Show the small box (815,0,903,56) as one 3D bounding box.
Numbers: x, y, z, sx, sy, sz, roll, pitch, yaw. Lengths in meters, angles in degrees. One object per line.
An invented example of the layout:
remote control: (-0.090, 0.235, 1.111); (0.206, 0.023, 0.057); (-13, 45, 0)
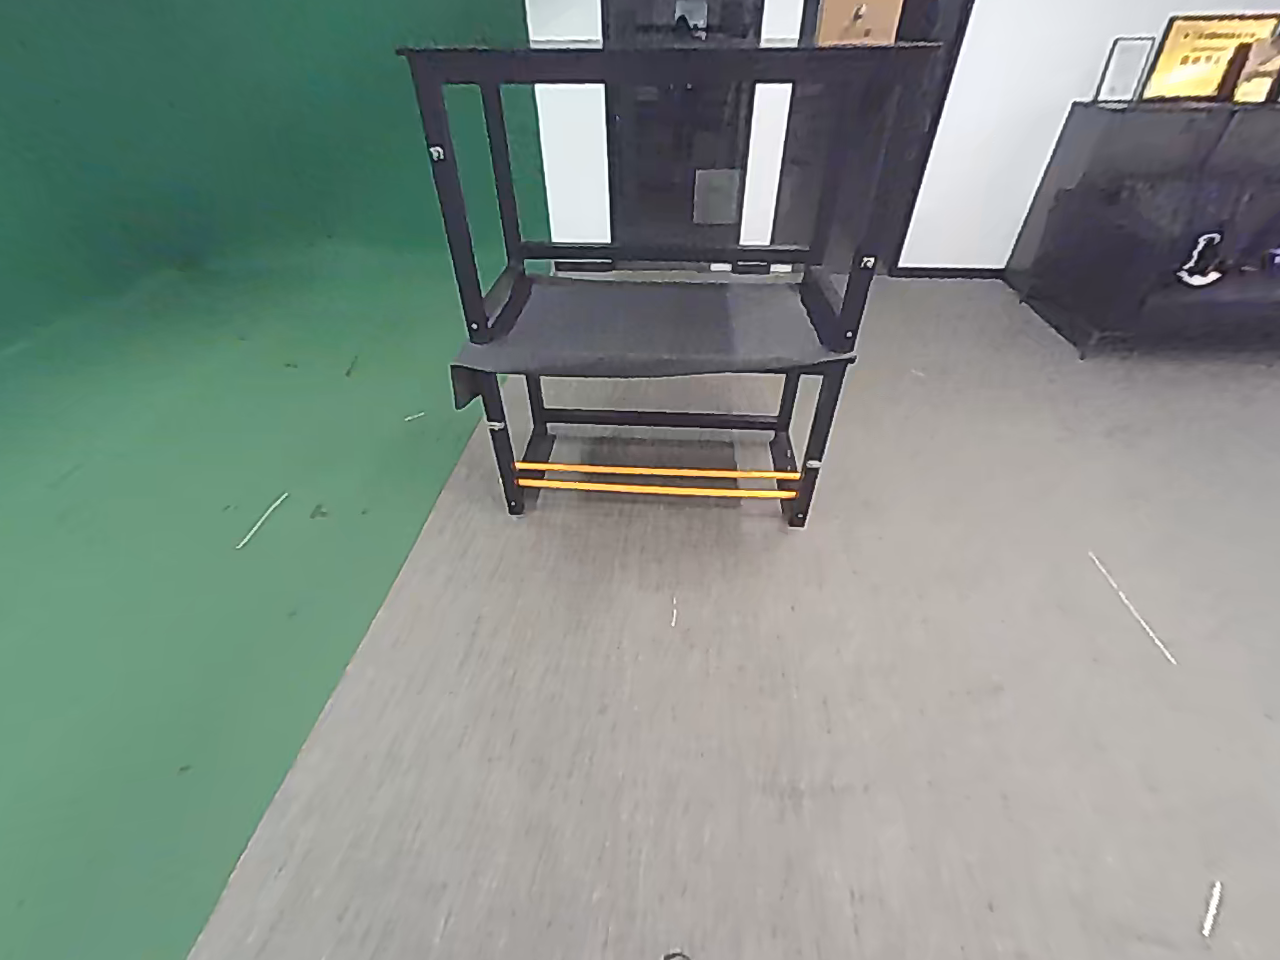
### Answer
small box: (0.502, -1.084, 1.239); (0.168, 0.176, 0.179); (6, 40, 10)
